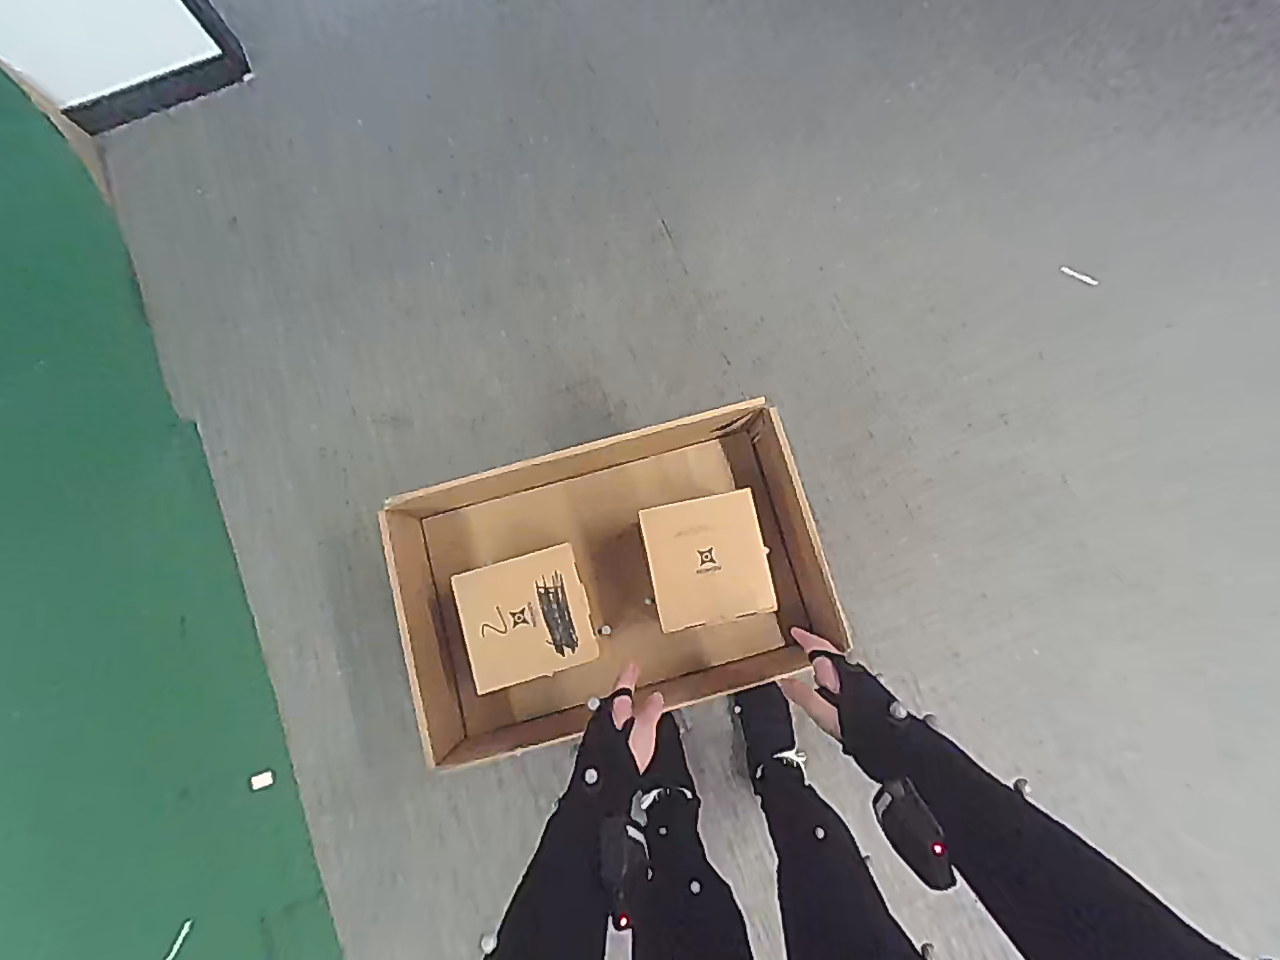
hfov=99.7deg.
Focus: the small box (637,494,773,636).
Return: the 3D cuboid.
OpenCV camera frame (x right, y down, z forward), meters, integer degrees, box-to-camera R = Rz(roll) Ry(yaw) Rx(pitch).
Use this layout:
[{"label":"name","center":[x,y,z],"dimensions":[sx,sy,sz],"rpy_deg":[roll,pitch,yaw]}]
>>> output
[{"label":"small box","center":[0.093,0.128,0.837],"dimensions":[0.168,0.176,0.179],"rpy_deg":[-11,81,-1]}]
